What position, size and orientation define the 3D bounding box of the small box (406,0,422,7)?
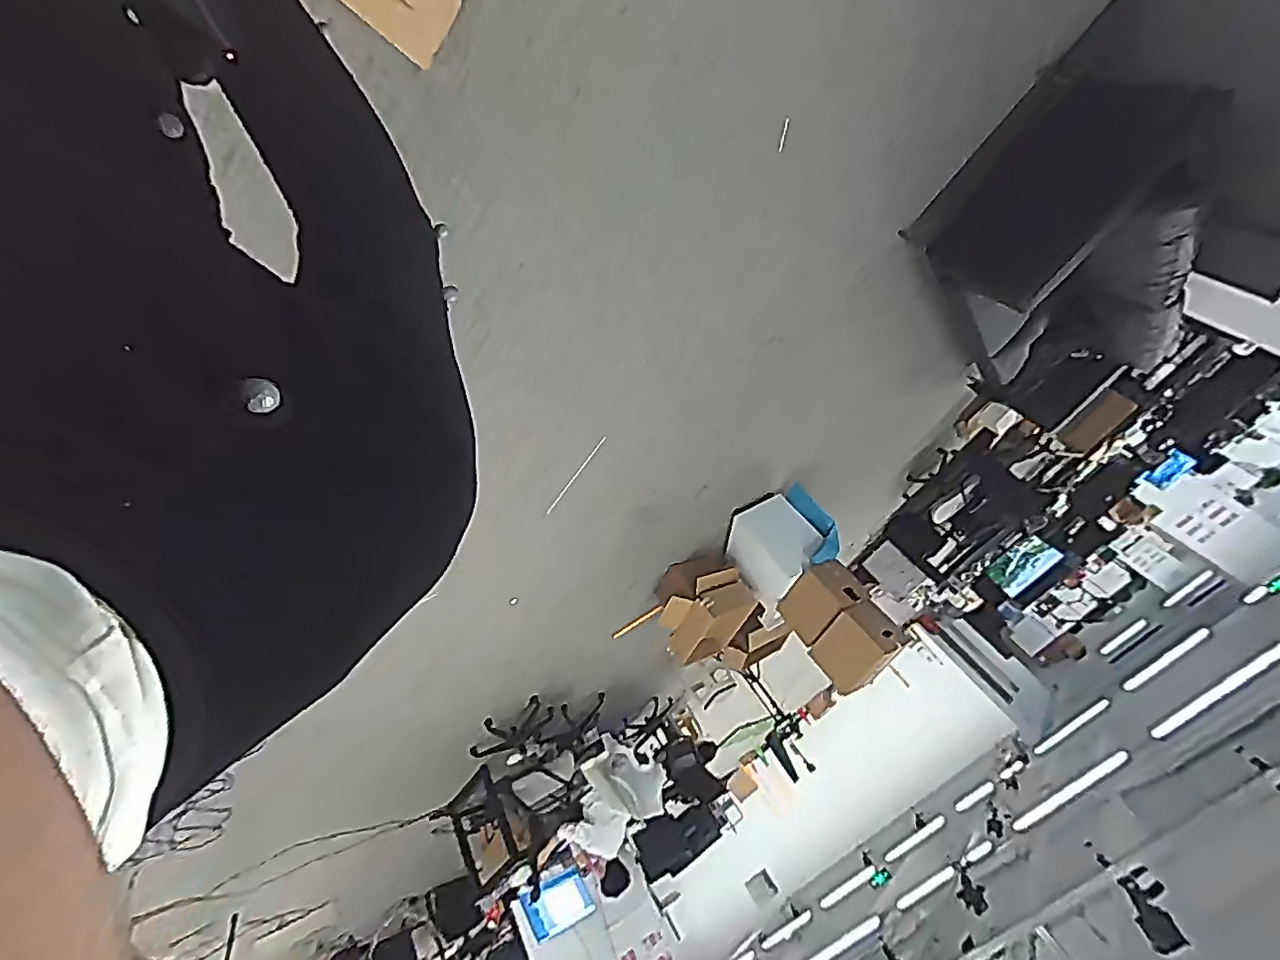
[{"bbox_3d":[-0.475,-1.043,1.008,0.168,0.176,0.179,-49,144,17],"label":"small box"}]
